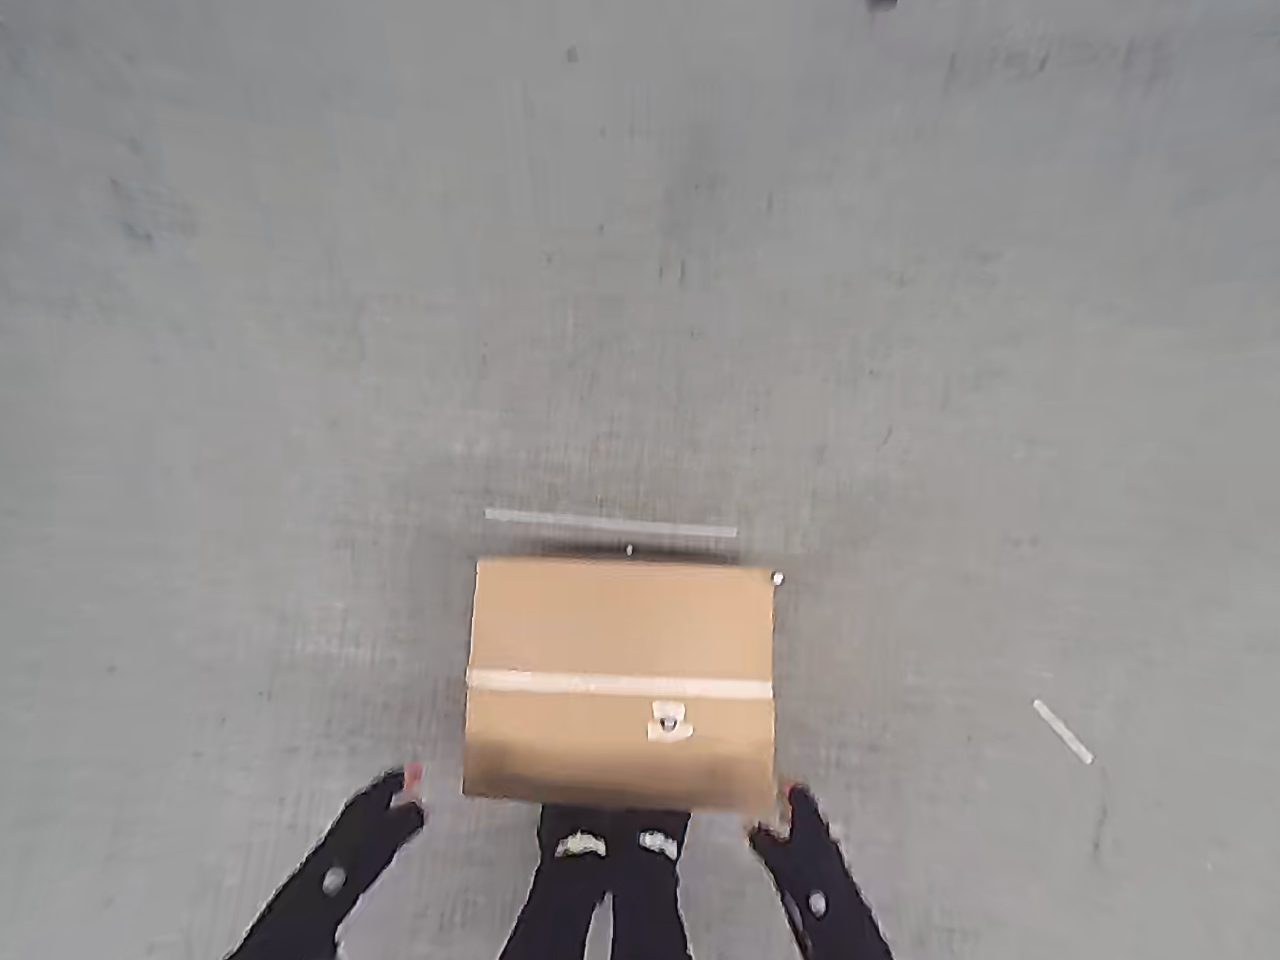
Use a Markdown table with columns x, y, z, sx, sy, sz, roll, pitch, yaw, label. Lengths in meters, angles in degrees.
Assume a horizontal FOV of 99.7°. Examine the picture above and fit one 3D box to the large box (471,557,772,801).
| x | y | z | sx | sy | sz | roll | pitch | yaw | label |
| --- | --- | --- | --- | --- | --- | --- | --- | --- | --- |
| -0.023 | 0.285 | 0.874 | 0.408 | 0.320 | 0.320 | 2 | 83 | 1 | large box |
